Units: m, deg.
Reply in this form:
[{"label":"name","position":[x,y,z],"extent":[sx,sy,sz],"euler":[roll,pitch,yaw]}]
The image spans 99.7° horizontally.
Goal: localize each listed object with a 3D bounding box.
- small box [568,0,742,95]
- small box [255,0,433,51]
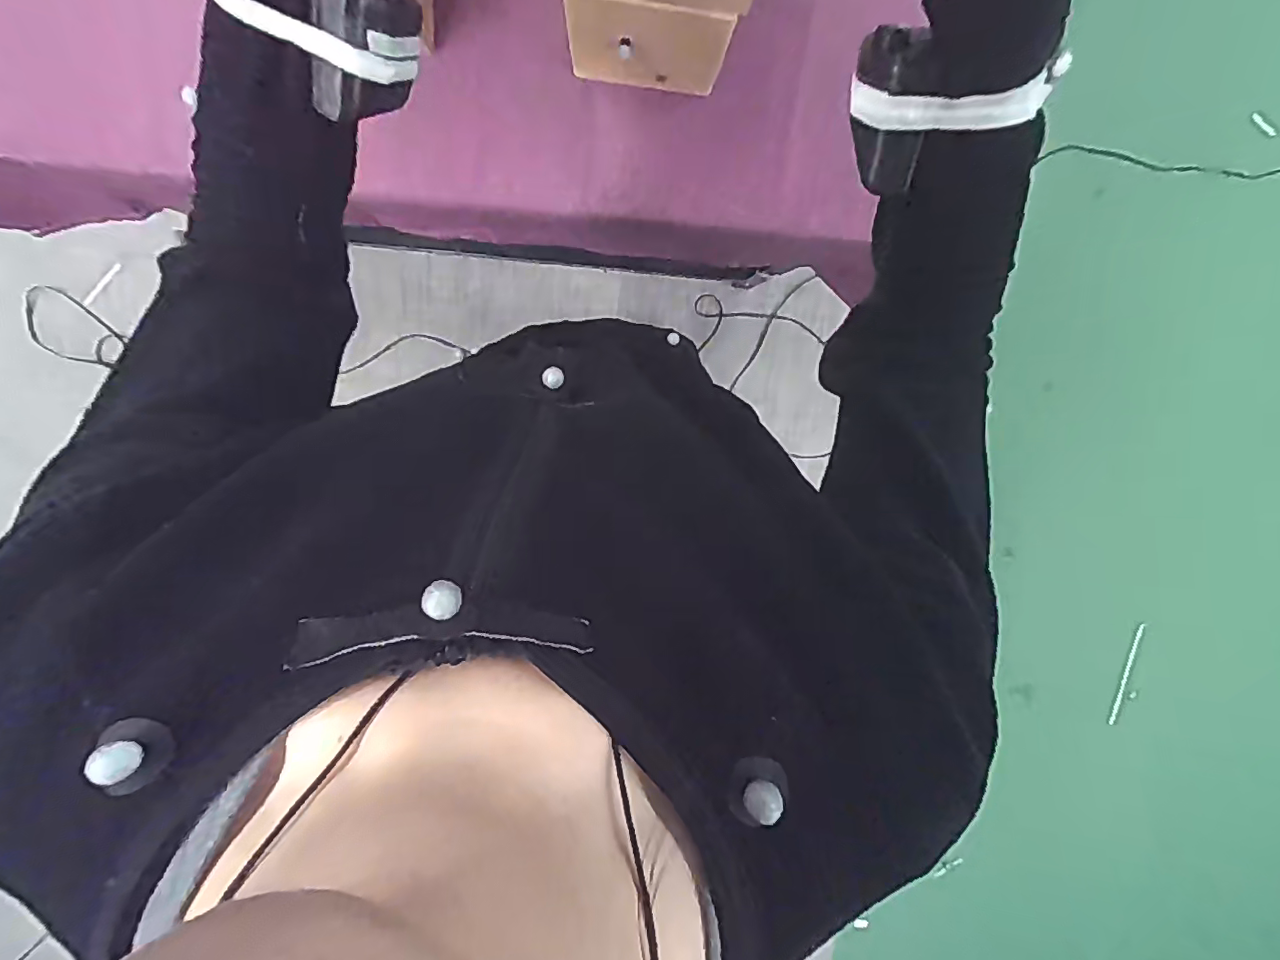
[{"label":"small box","position":[0.022,-0.538,0.559],"extent":[0.168,0.176,0.179],"euler":[6,102,-4]},{"label":"small box","position":[-0.311,-0.568,0.535],"extent":[0.179,0.176,0.168],"euler":[5,102,-4]}]
